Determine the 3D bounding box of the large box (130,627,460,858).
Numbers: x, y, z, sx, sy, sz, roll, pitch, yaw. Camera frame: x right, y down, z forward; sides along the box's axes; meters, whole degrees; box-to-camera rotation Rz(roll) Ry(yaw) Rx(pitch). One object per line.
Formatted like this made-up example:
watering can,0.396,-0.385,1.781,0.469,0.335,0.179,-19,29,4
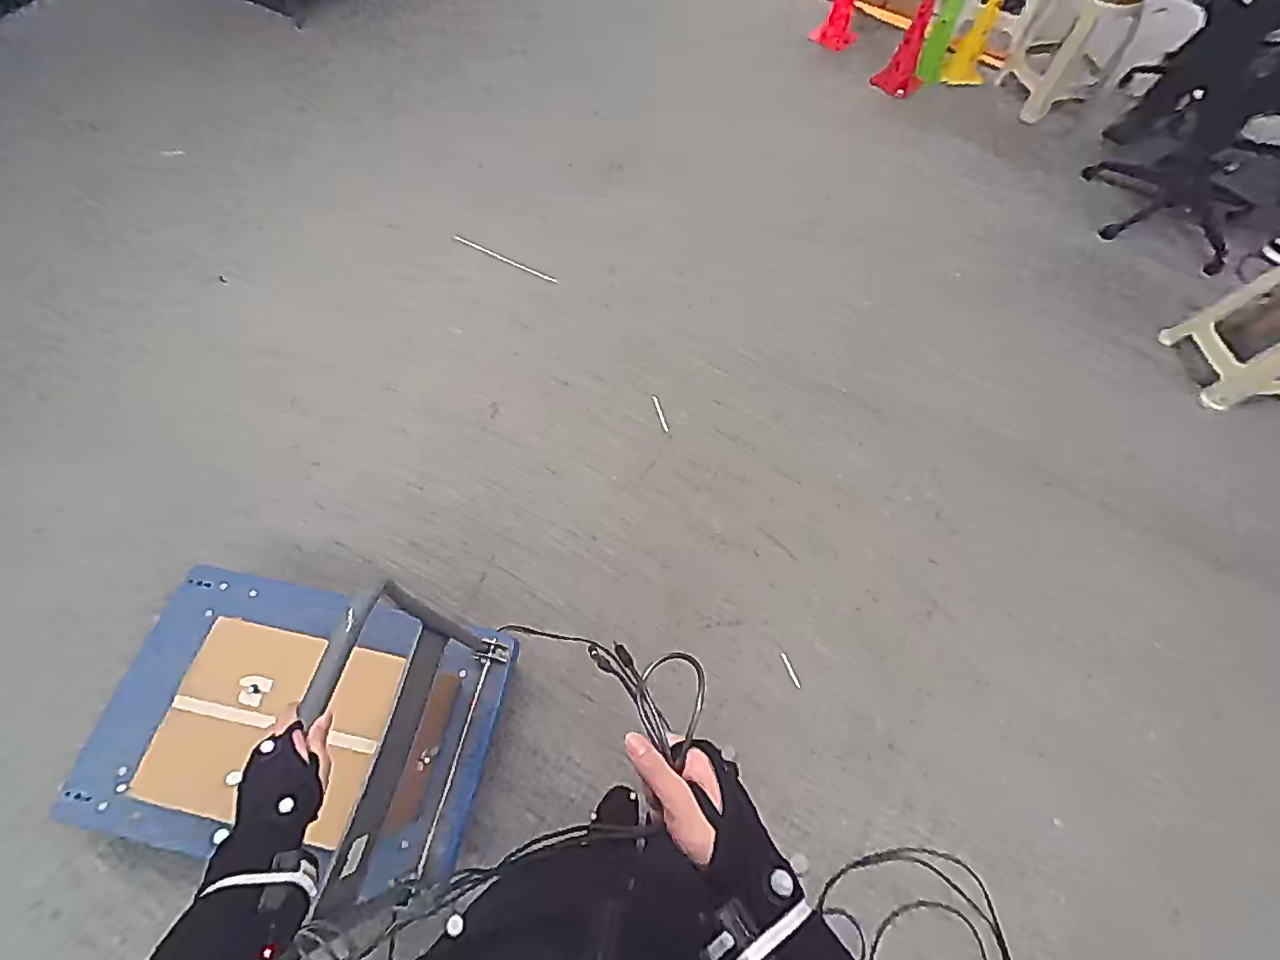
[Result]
large box,-0.642,0.514,1.095,0.408,0.320,0.320,11,64,5
